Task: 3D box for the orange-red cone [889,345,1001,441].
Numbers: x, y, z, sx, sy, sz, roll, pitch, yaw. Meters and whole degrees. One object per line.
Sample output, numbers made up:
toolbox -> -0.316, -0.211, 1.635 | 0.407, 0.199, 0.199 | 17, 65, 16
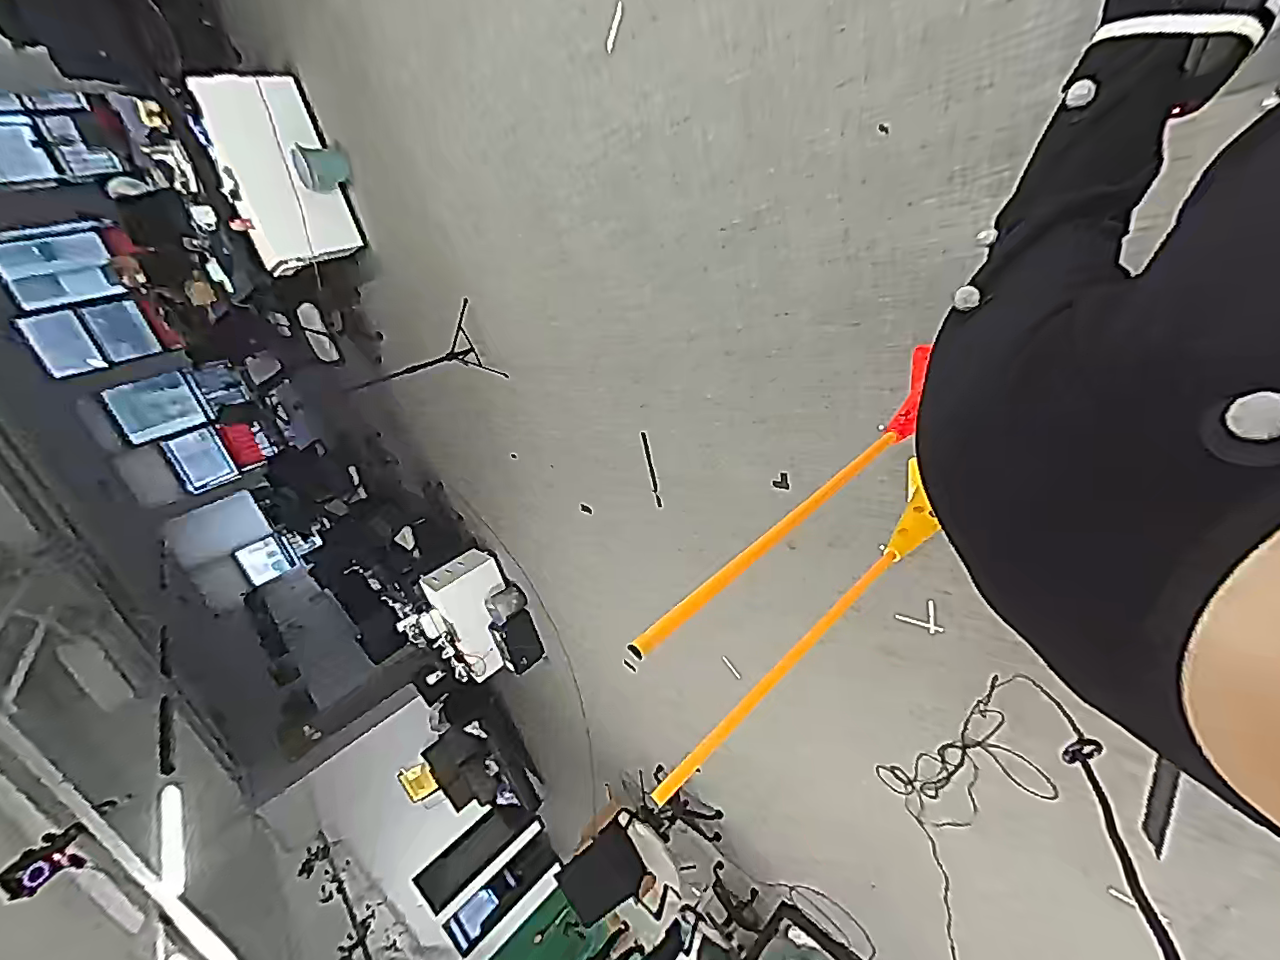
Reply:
orange-red cone -> 0.701, -0.179, 1.318 | 0.198, 0.360, 0.199 | 20, 129, 42
